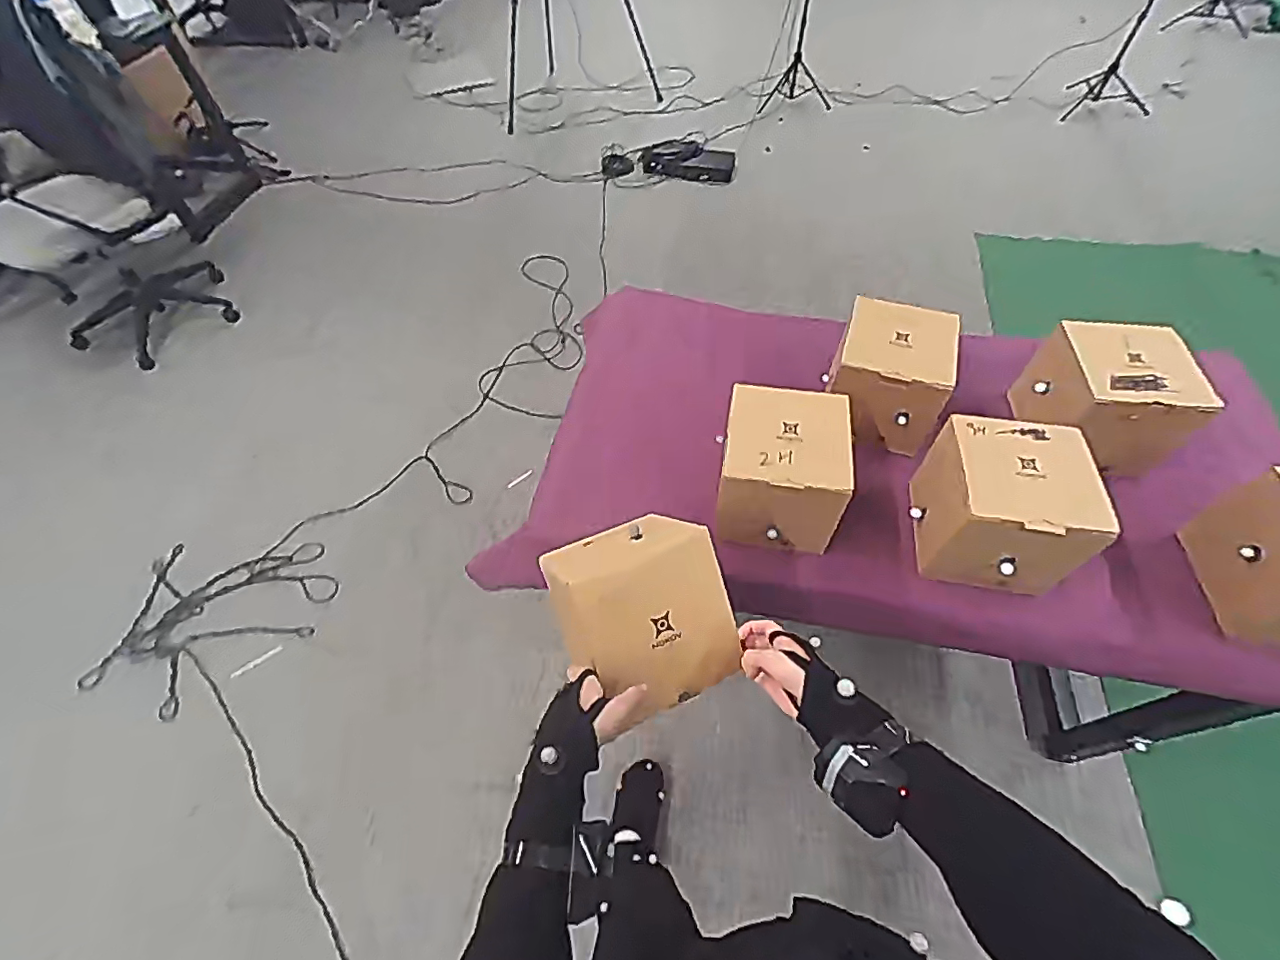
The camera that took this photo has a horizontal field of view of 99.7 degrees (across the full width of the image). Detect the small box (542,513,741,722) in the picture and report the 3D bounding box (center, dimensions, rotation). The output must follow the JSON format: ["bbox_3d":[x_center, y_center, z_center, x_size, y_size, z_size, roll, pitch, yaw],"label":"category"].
[{"bbox_3d":[-0.008,0.144,0.648,0.168,0.176,0.179,-18,99,-18],"label":"small box"}]

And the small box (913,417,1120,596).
[{"bbox_3d":[0.498,0.041,0.749,0.168,0.176,0.179,9,55,8],"label":"small box"}]

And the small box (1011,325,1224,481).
[{"bbox_3d":[0.731,-0.118,0.856,0.168,0.176,0.179,7,54,7],"label":"small box"}]

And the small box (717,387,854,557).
[{"bbox_3d":[0.208,-0.011,0.800,0.168,0.176,0.179,8,54,9],"label":"small box"}]

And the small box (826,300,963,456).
[{"bbox_3d":[0.413,-0.166,0.906,0.168,0.176,0.179,17,57,13],"label":"small box"}]
